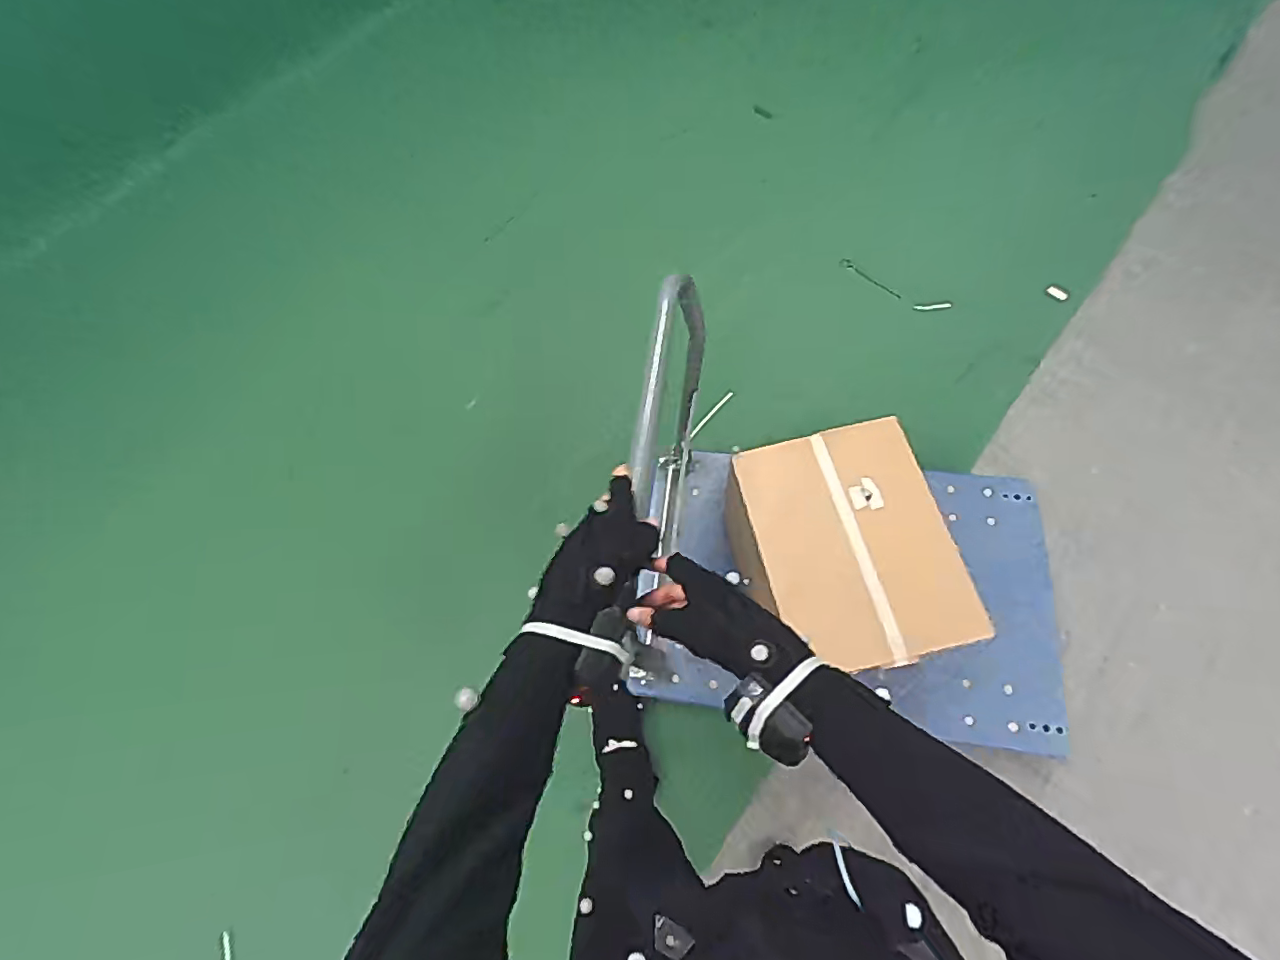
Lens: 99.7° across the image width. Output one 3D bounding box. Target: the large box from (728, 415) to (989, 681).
[{"bbox_3d":[0.374,0.148,1.054,0.320,0.320,0.408,-12,67,0],"label":"large box"}]
